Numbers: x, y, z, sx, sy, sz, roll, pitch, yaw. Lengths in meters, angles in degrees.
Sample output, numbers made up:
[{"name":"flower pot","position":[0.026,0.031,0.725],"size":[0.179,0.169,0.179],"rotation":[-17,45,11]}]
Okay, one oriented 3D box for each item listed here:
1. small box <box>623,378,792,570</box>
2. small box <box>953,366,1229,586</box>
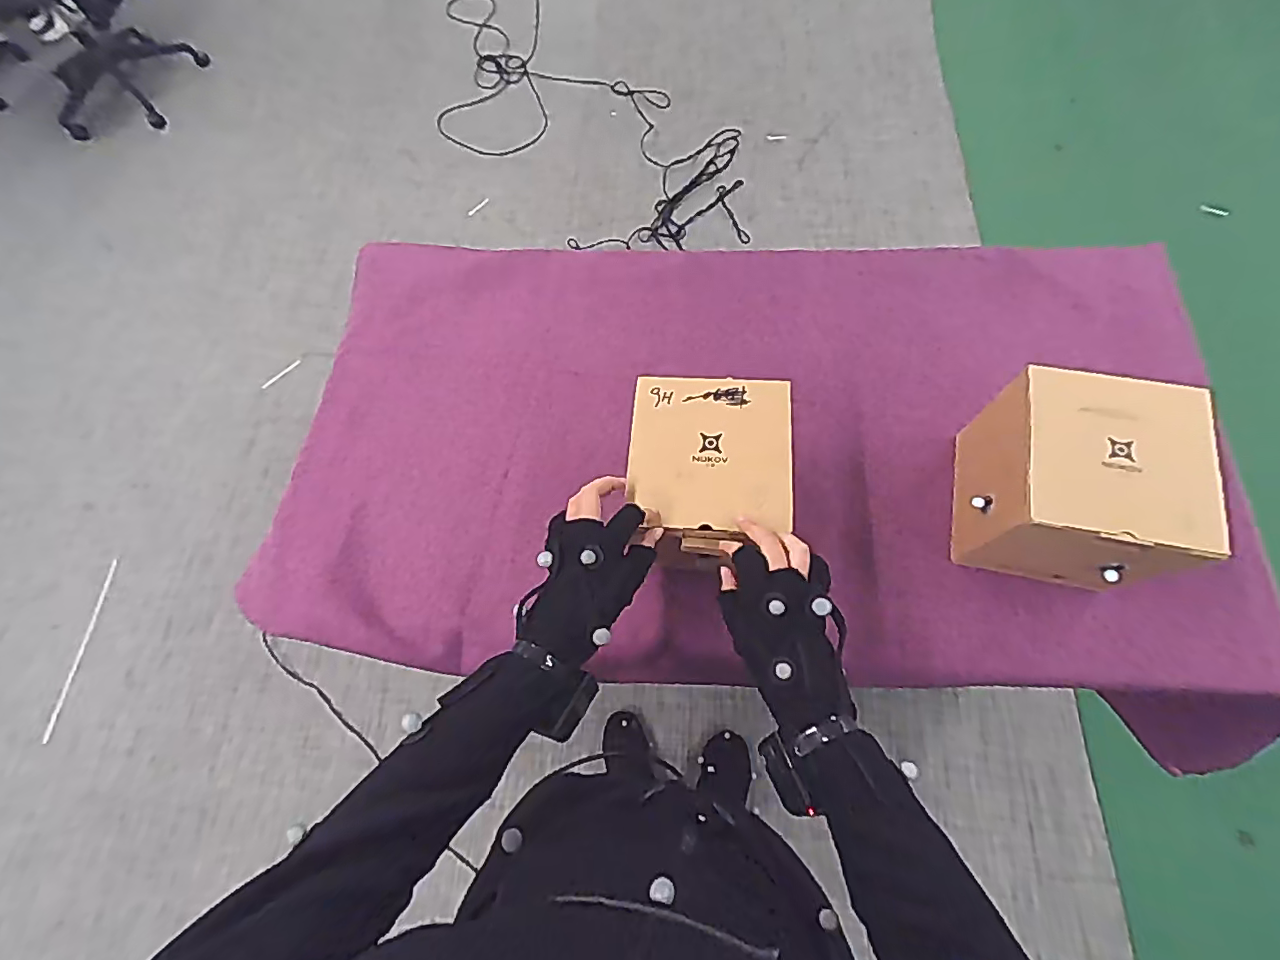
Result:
[{"name":"small box","position":[0.079,0.002,0.626],"size":[0.168,0.176,0.179],"rotation":[3,69,7]},{"name":"small box","position":[0.464,0.005,0.587],"size":[0.168,0.176,0.179],"rotation":[11,70,10]}]
